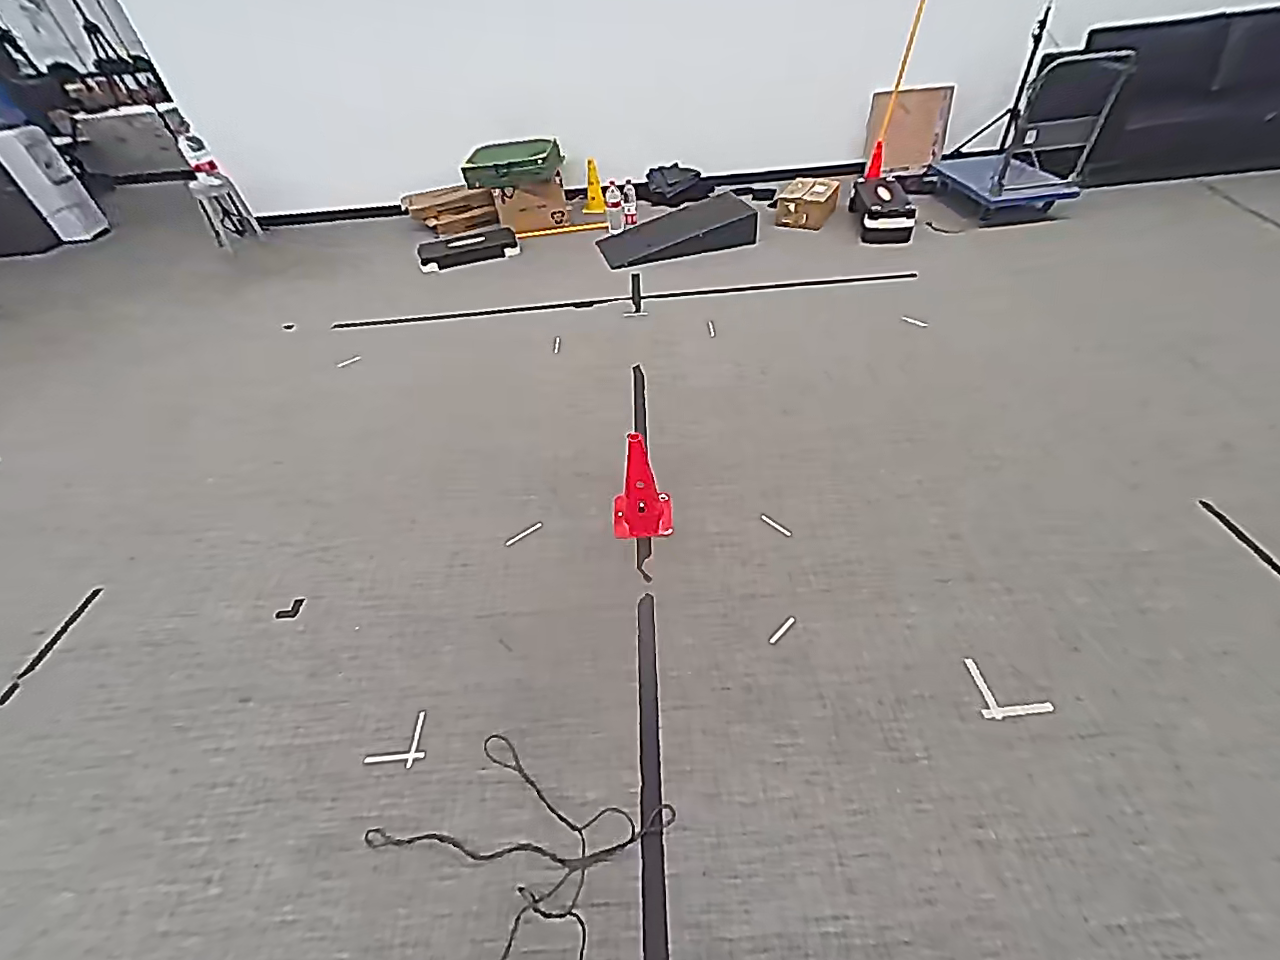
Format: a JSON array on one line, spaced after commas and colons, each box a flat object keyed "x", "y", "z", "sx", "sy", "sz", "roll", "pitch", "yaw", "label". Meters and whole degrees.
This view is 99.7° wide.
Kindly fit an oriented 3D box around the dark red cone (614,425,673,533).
[{"x": -0.005, "y": -0.017, "z": 1.751, "sx": 0.201, "sy": 0.394, "sz": 0.202, "roll": -5, "pitch": 44, "yaw": 2, "label": "dark red cone"}]
